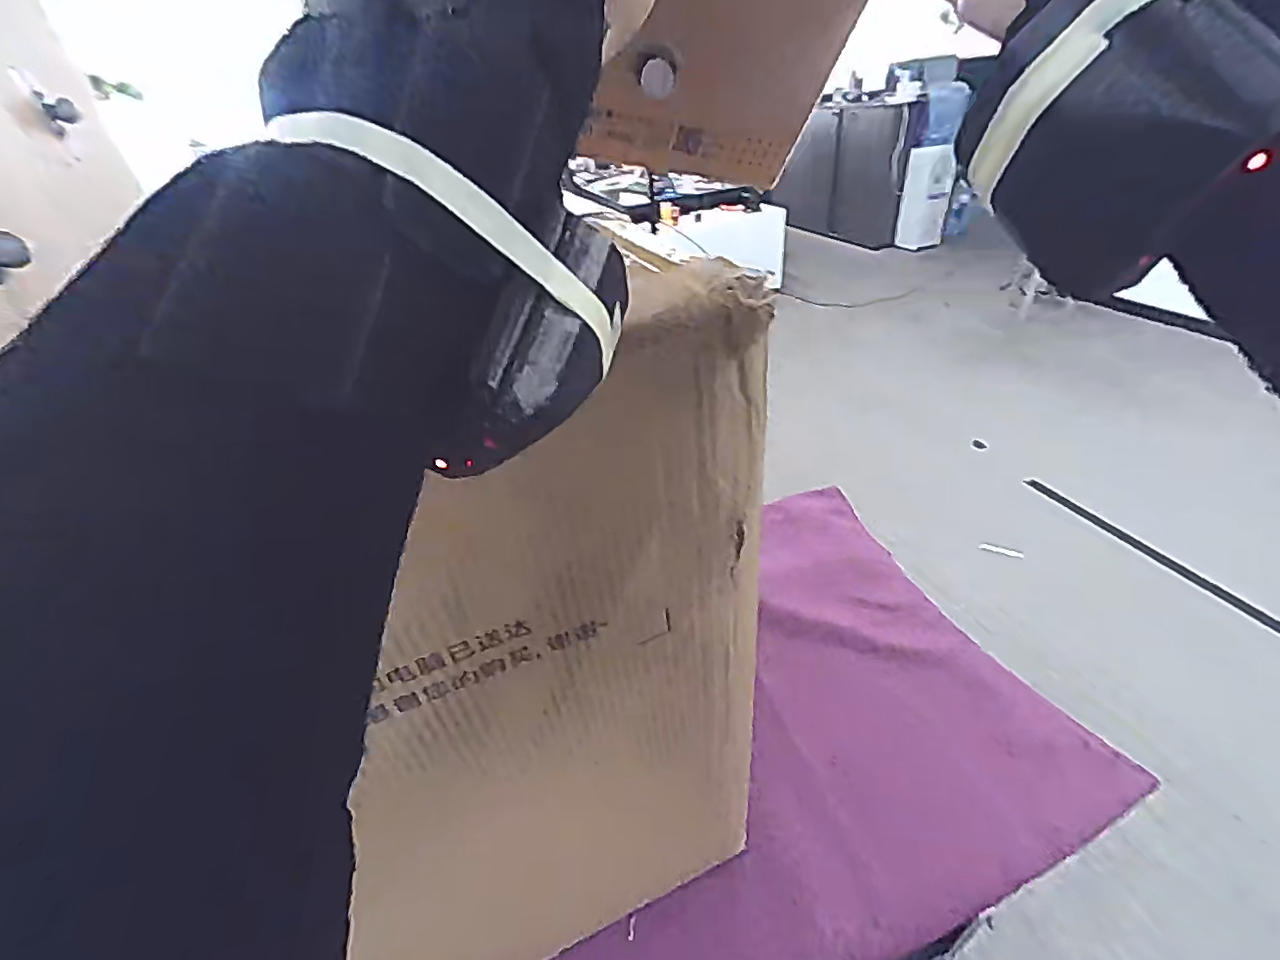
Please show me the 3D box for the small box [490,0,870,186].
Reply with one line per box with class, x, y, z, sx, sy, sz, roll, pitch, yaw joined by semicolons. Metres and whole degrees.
small box;0.014;-0.285;0.263;0.168;0.176;0.179;0;66;-15
